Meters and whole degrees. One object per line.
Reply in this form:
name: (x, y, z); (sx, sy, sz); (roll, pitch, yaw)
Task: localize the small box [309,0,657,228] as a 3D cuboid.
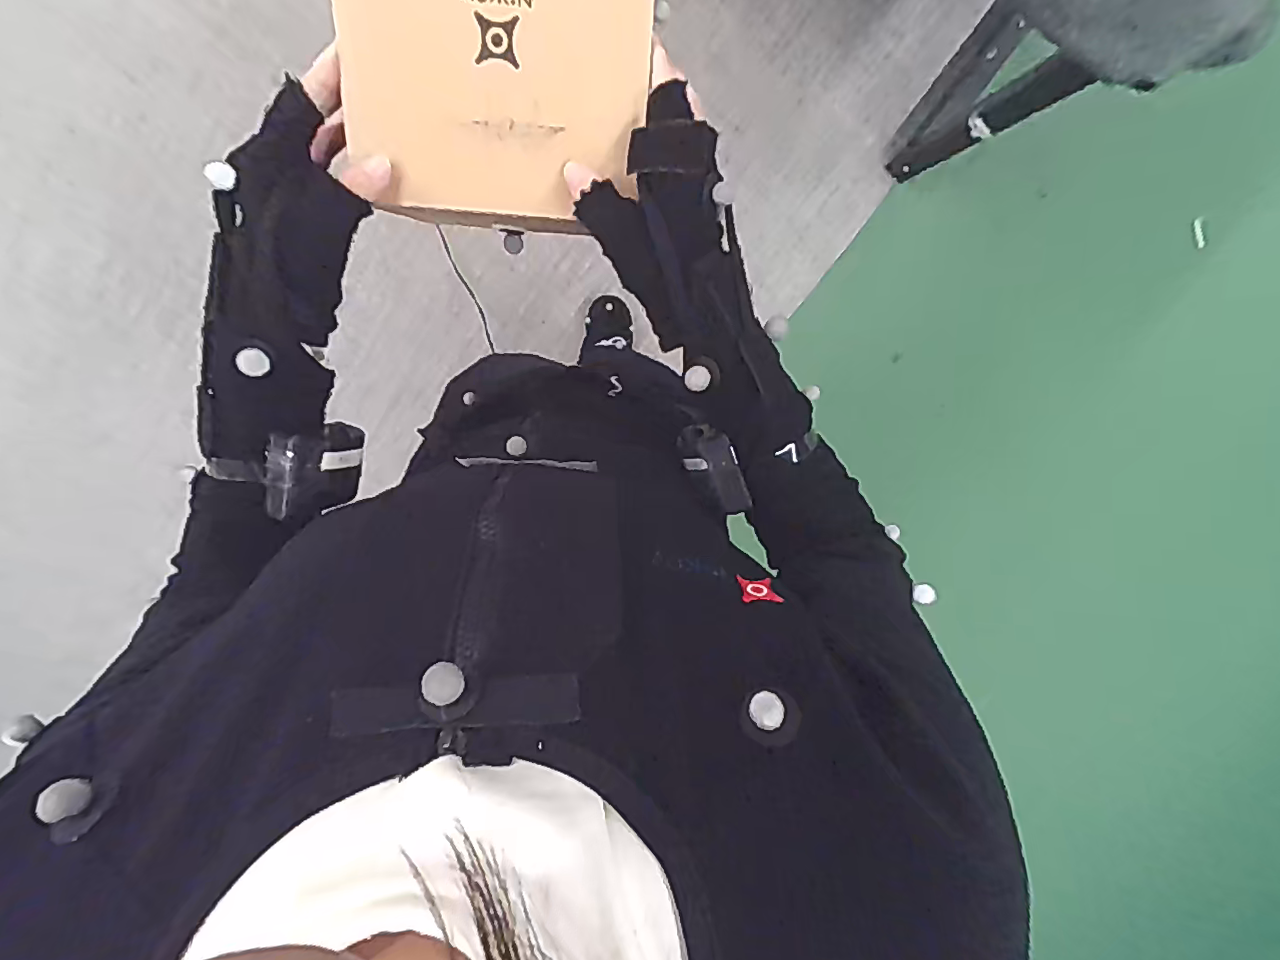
small box: (-0.078, -0.264, 0.332); (0.168, 0.176, 0.179); (5, 112, -4)
